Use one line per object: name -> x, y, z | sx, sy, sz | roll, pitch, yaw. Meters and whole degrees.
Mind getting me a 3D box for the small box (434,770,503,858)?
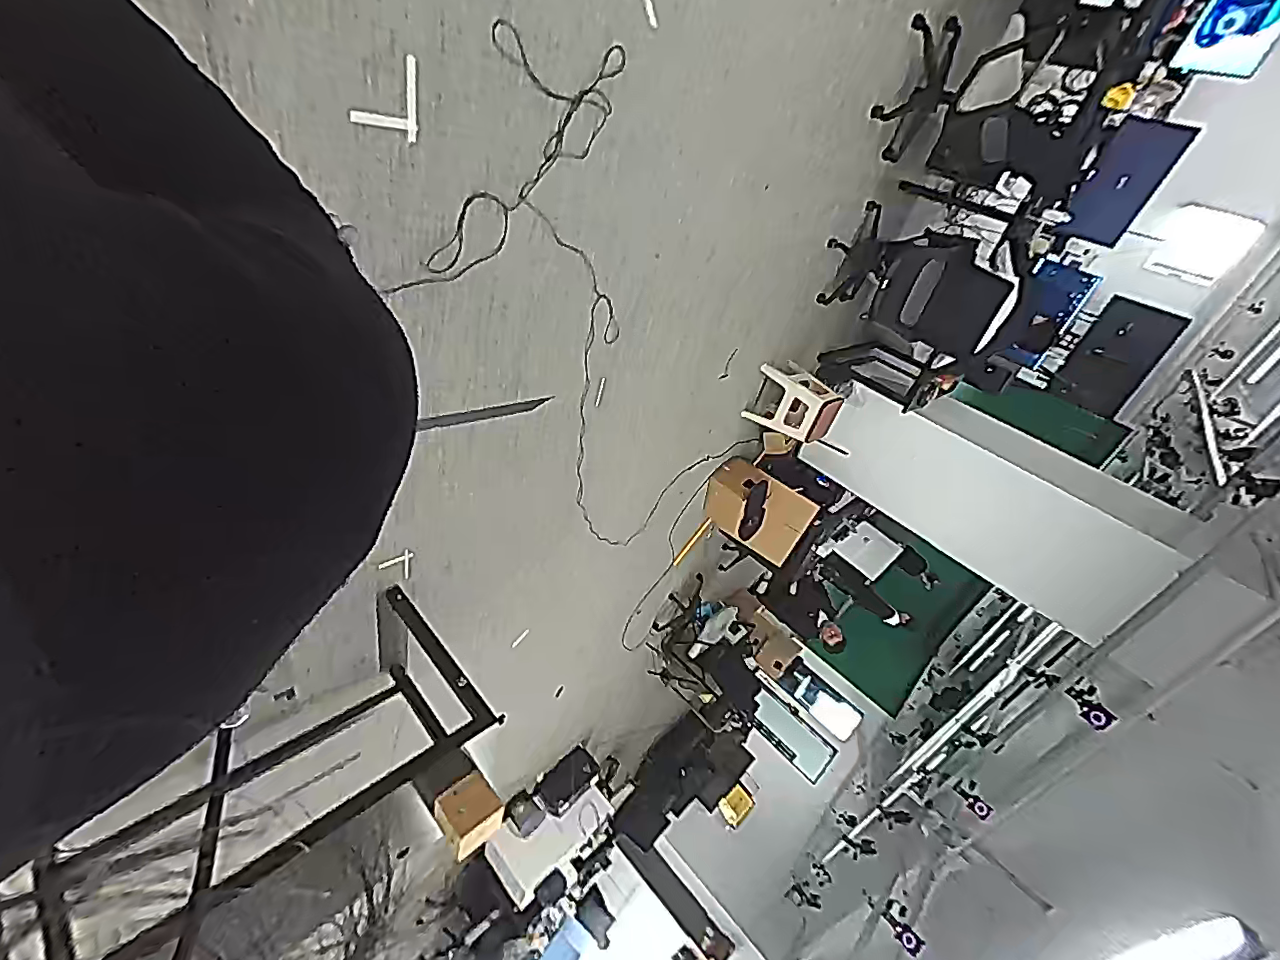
small box -> -0.596, 1.147, 1.871 | 0.168, 0.176, 0.179 | -22, 141, -41
